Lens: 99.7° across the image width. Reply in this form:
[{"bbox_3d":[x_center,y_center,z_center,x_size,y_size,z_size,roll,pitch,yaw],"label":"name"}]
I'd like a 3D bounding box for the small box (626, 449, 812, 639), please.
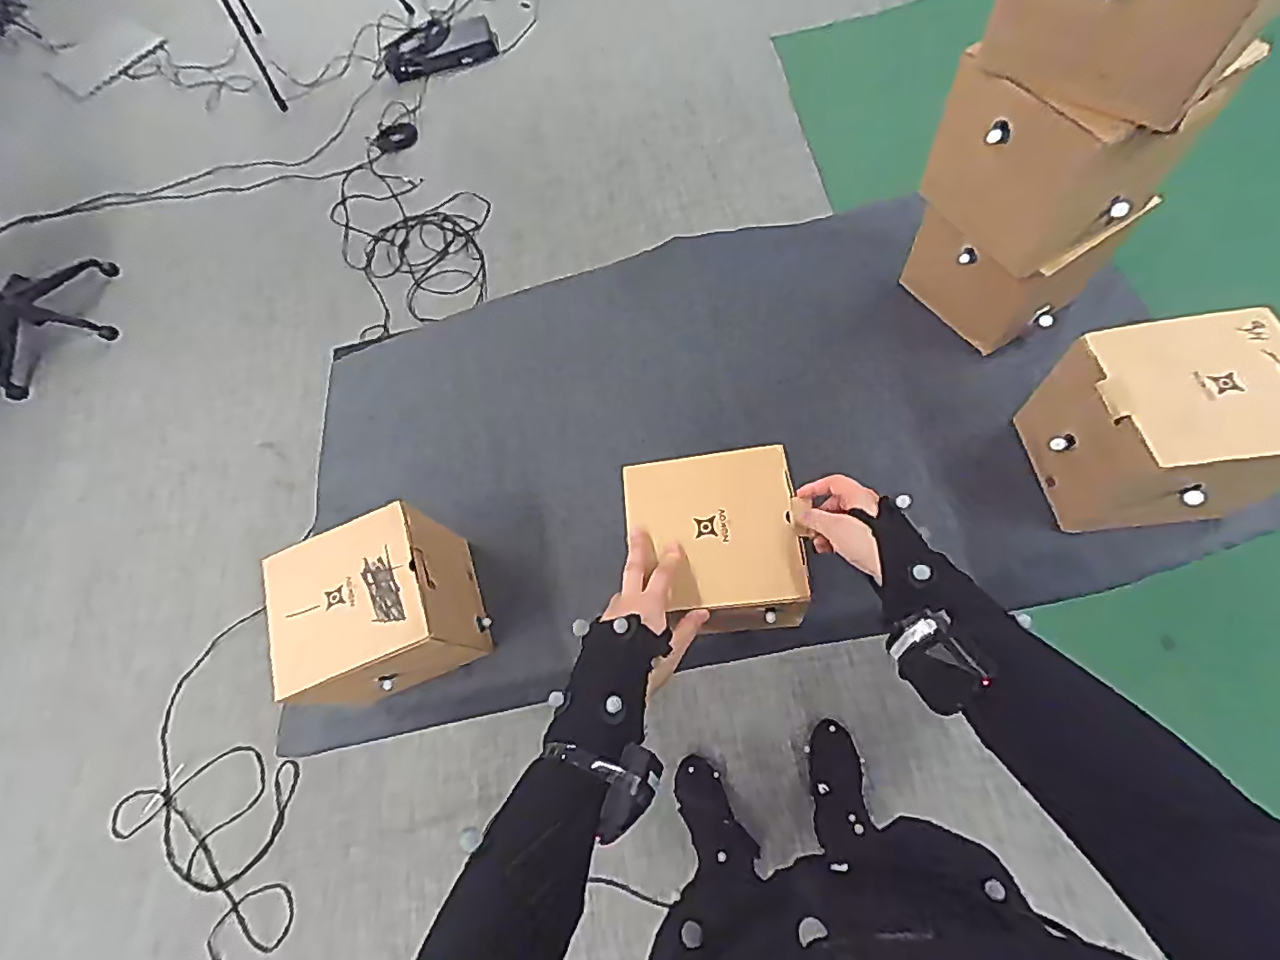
[{"bbox_3d":[0.089,0.084,0.622,0.179,0.176,0.168,-8,66,8],"label":"small box"}]

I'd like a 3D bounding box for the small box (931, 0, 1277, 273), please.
[{"bbox_3d":[0.441,-0.356,0.559,0.168,0.176,0.179,-30,66,1],"label":"small box"}]

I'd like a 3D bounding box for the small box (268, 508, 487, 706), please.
[{"bbox_3d":[-0.304,0.159,0.658,0.179,0.176,0.168,-23,66,1],"label":"small box"}]

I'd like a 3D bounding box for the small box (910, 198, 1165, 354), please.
[{"bbox_3d":[0.492,-0.301,0.707,0.168,0.176,0.179,-34,68,-1],"label":"small box"}]

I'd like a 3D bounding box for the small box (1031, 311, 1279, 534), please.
[{"bbox_3d":[0.565,-0.050,0.584,0.179,0.176,0.168,-7,63,8],"label":"small box"}]
